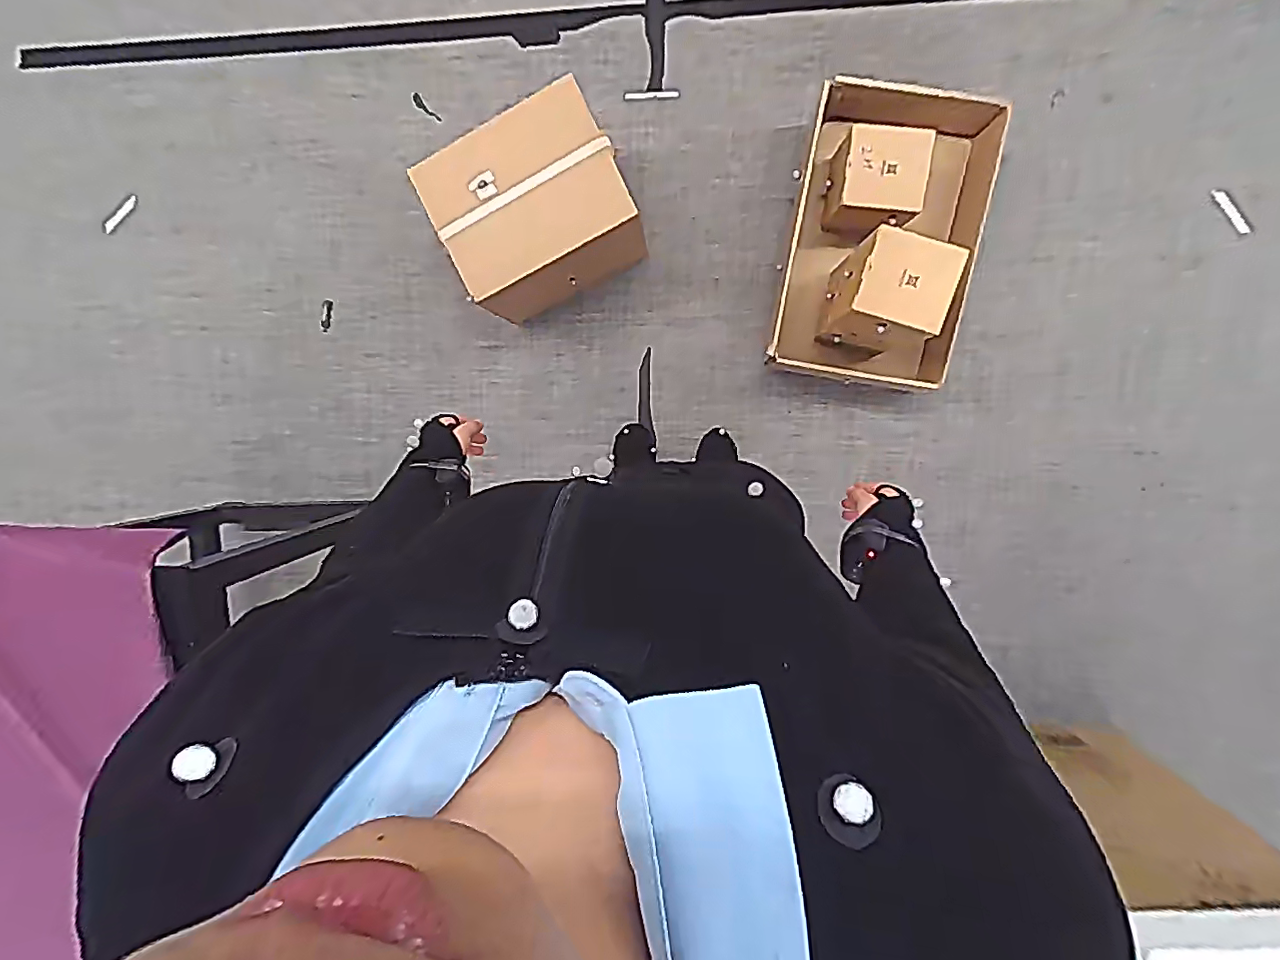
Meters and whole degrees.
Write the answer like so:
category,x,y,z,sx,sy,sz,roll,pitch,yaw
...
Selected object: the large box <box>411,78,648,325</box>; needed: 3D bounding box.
category,x,y,z,sx,sy,sz,roll,pitch,yaw
large box,-0.232,-0.616,1.278,0.408,0.320,0.320,-26,94,8
